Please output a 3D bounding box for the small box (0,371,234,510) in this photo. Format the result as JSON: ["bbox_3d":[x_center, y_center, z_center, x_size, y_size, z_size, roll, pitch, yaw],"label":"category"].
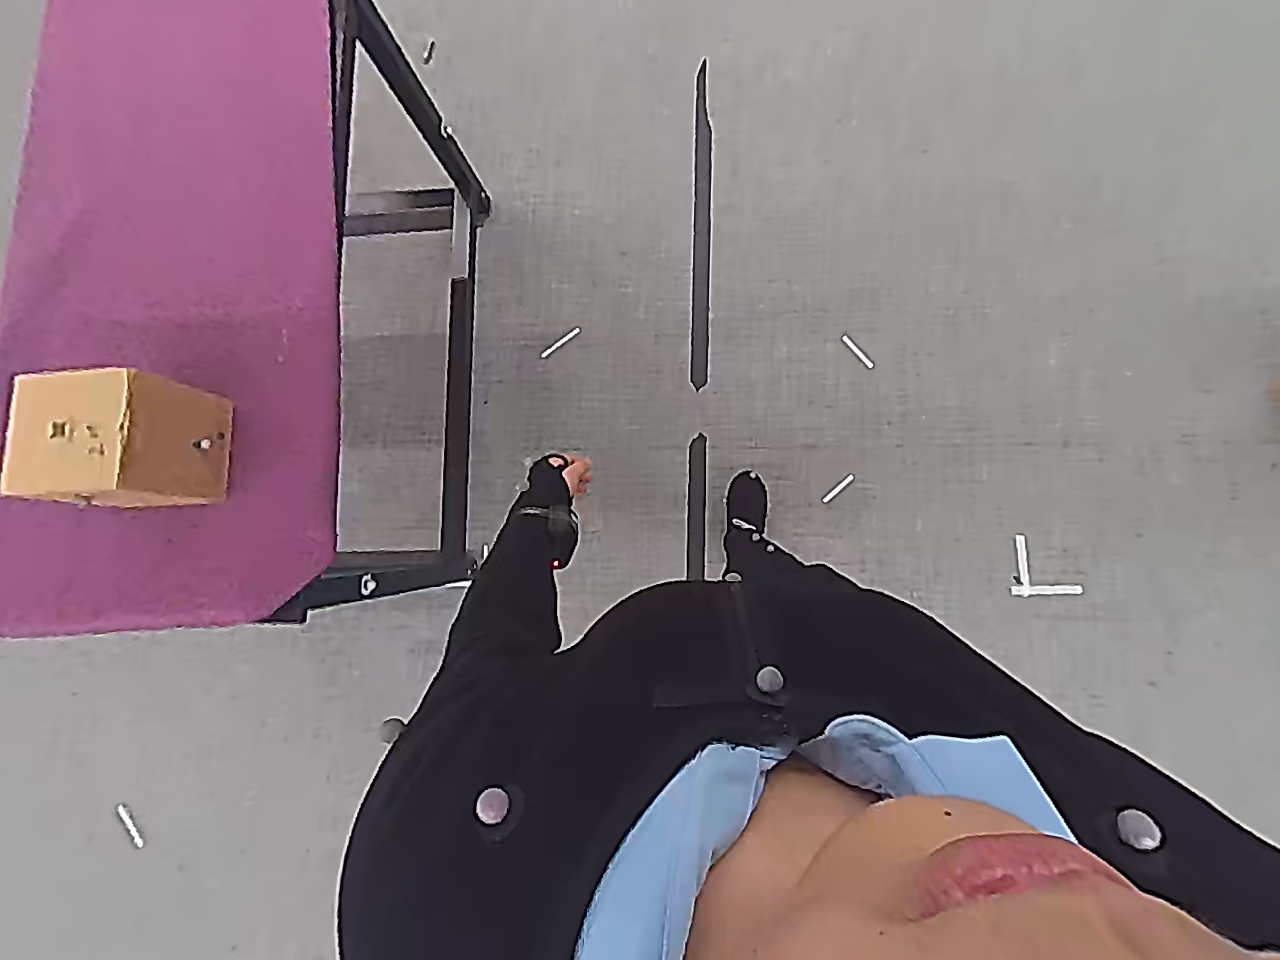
[{"bbox_3d":[-0.745,-0.048,0.787,0.179,0.176,0.168,-3,82,5],"label":"small box"}]
